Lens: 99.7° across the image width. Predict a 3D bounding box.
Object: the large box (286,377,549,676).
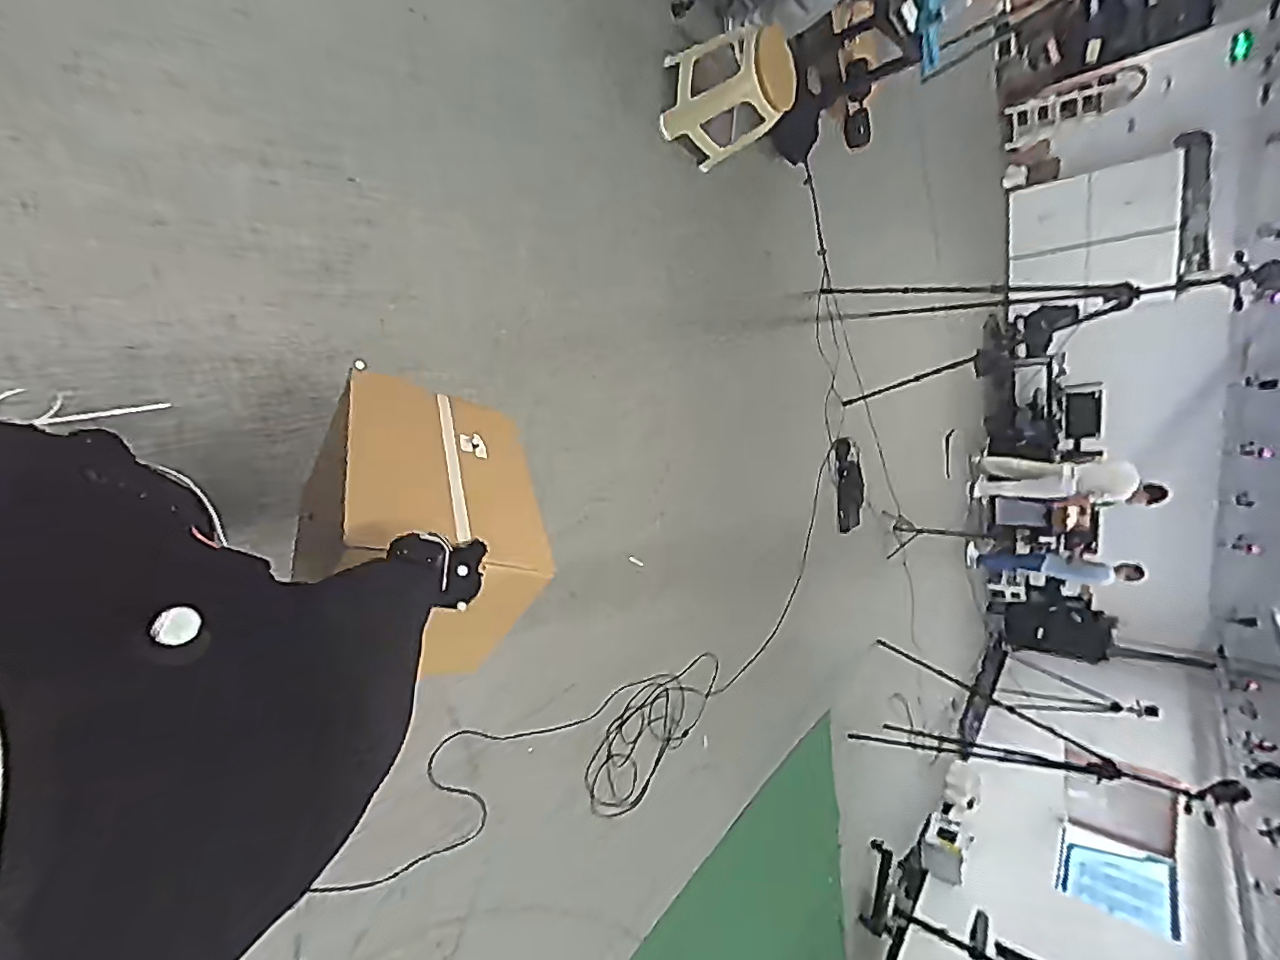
[{"bbox_3d":[-0.409,0.093,0.973,0.320,0.408,0.320,18,124,-38],"label":"large box"}]
